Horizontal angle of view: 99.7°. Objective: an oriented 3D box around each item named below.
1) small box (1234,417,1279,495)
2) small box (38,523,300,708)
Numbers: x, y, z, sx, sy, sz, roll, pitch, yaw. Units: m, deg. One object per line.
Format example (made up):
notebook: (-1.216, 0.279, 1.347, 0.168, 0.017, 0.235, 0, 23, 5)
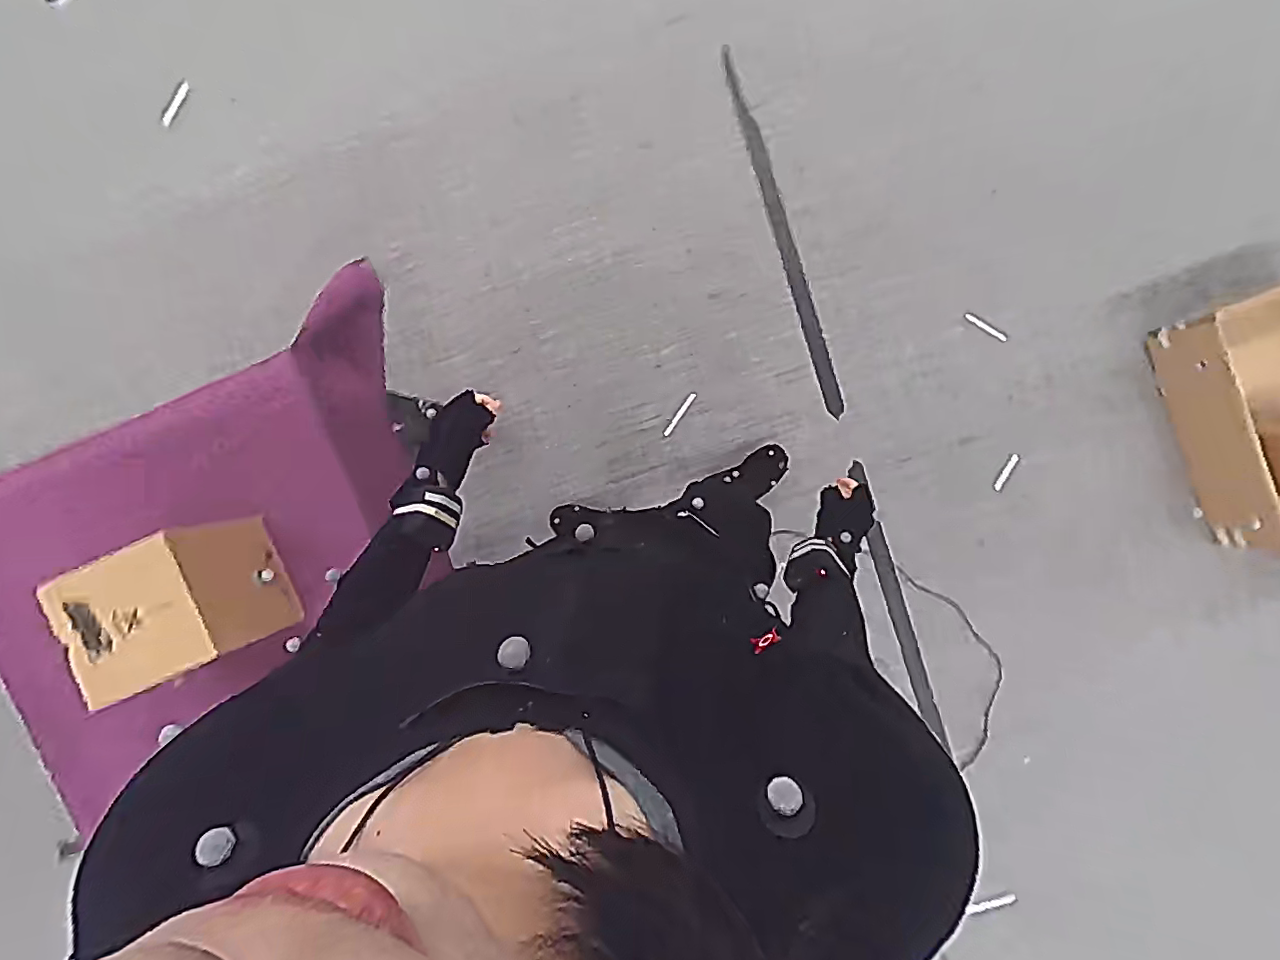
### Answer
small box: (1.644, -0.066, 1.324, 0.168, 0.176, 0.179, -21, 89, 2)
small box: (-0.614, 0.169, 0.729, 0.179, 0.176, 0.168, -24, 91, 2)
